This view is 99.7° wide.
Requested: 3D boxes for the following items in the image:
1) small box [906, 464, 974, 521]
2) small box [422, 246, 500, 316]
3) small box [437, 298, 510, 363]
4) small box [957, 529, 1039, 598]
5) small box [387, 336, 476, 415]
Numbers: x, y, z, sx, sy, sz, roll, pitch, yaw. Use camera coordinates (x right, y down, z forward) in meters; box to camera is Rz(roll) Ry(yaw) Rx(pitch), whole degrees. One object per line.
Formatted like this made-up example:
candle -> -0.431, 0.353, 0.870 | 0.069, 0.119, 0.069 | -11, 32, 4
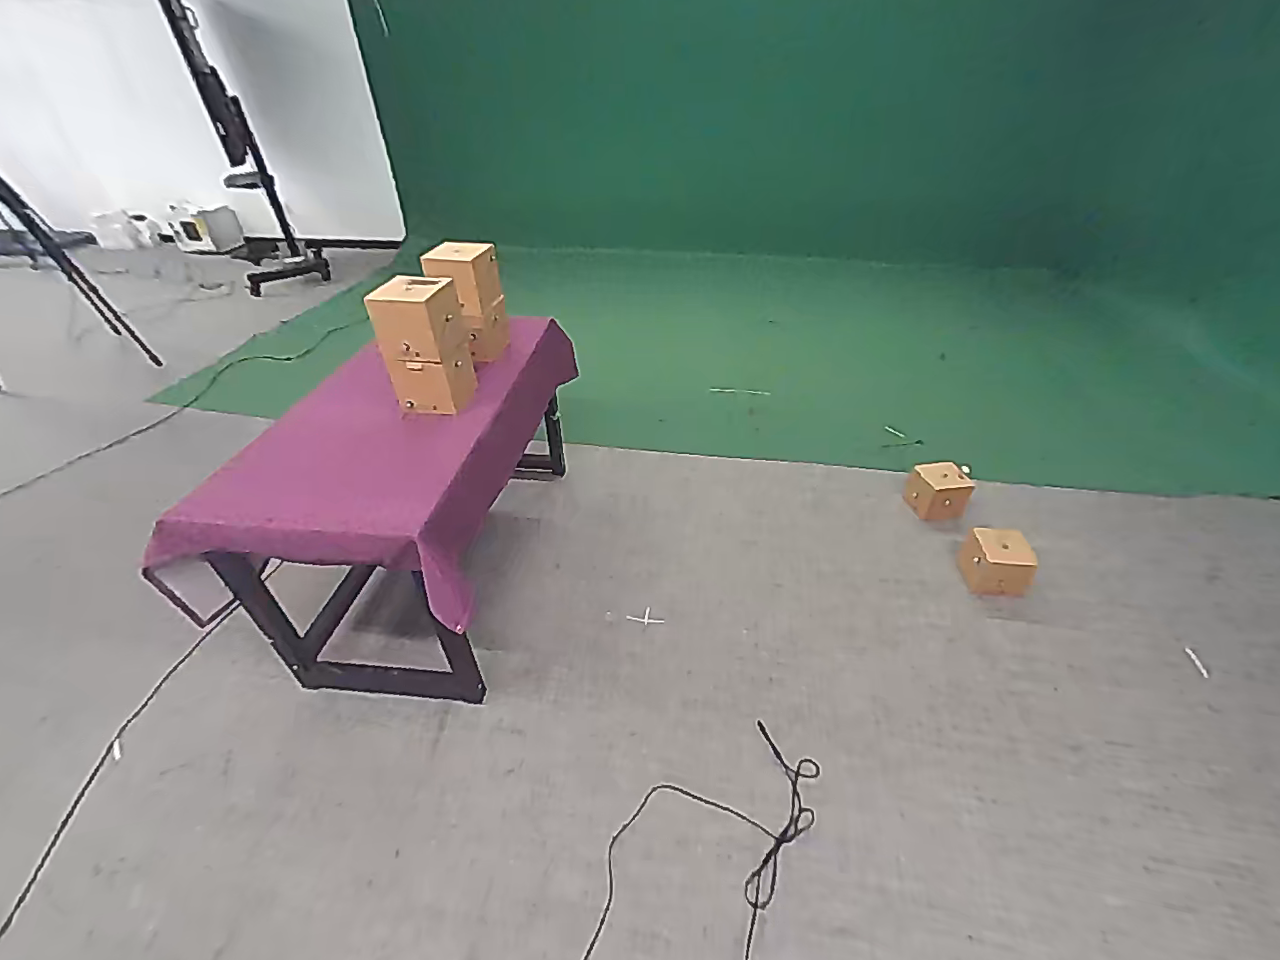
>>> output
small box -> 1.231, 0.054, 2.239 | 0.179, 0.176, 0.168 | -6, 38, -6
small box -> -0.560, -0.636, 1.726 | 0.168, 0.176, 0.179 | 6, 39, 8
small box -> -0.552, -0.508, 1.826 | 0.168, 0.176, 0.179 | 8, 39, 10
small box -> 1.265, 0.298, 1.926 | 0.168, 0.176, 0.179 | 5, 39, 6
small box -> -0.591, -0.301, 1.563 | 0.168, 0.176, 0.179 | 4, 38, 6
